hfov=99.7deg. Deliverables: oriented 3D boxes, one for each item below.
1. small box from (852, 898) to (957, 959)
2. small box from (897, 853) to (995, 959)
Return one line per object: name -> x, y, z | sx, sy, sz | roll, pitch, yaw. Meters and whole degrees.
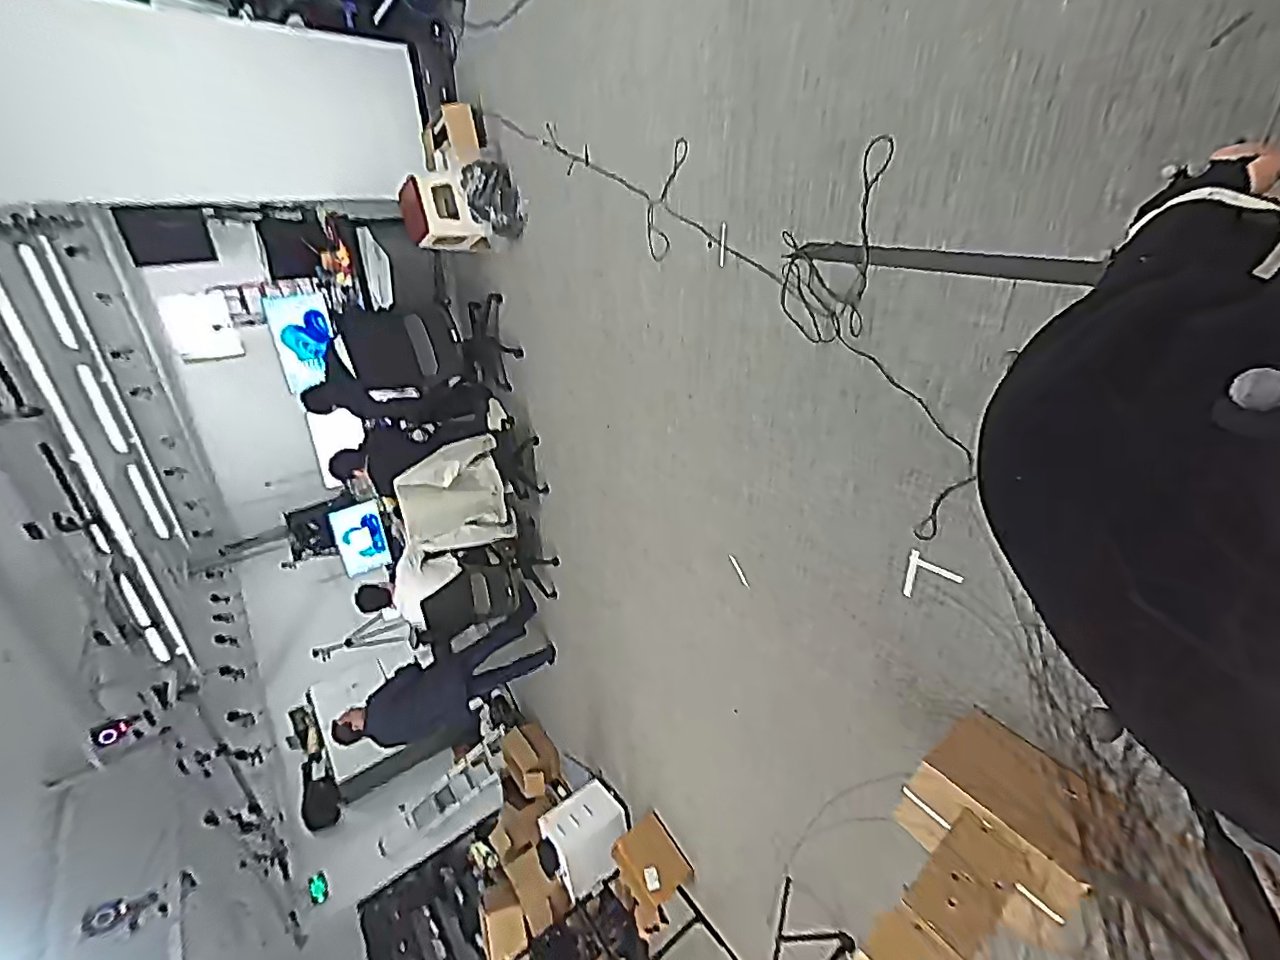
small box -> 0.590, 1.102, 1.216 | 0.168, 0.176, 0.179 | 32, 133, 42
small box -> 0.719, 1.057, 1.305 | 0.168, 0.176, 0.179 | 35, 133, 41
